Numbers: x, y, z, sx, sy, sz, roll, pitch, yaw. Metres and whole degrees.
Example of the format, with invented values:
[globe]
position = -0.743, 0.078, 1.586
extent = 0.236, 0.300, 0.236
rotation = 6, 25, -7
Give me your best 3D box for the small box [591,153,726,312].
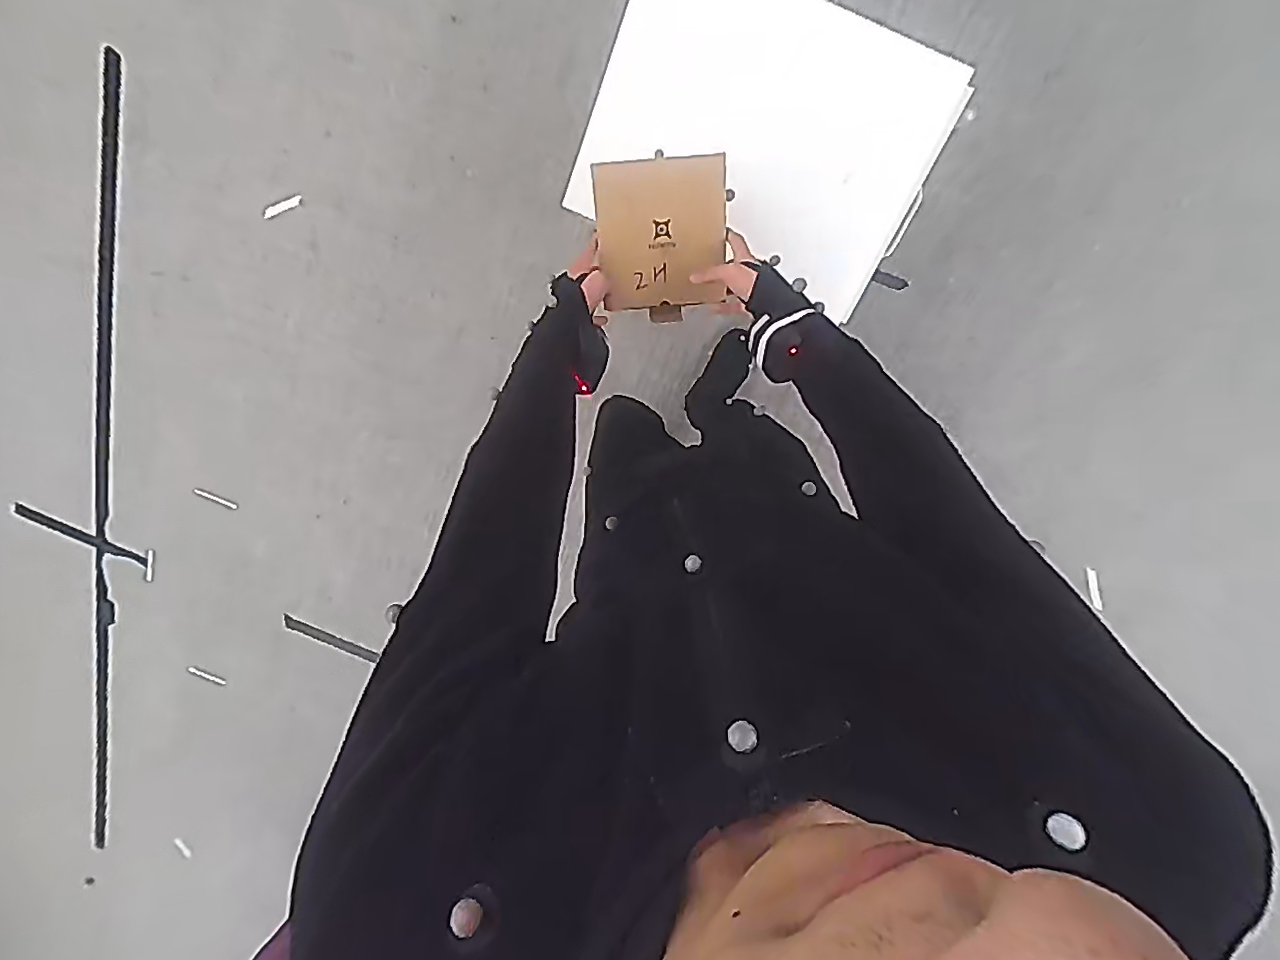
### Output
[small box]
position = 0.026, -0.341, 0.752
extent = 0.168, 0.176, 0.179
rotation = -3, 117, 2
